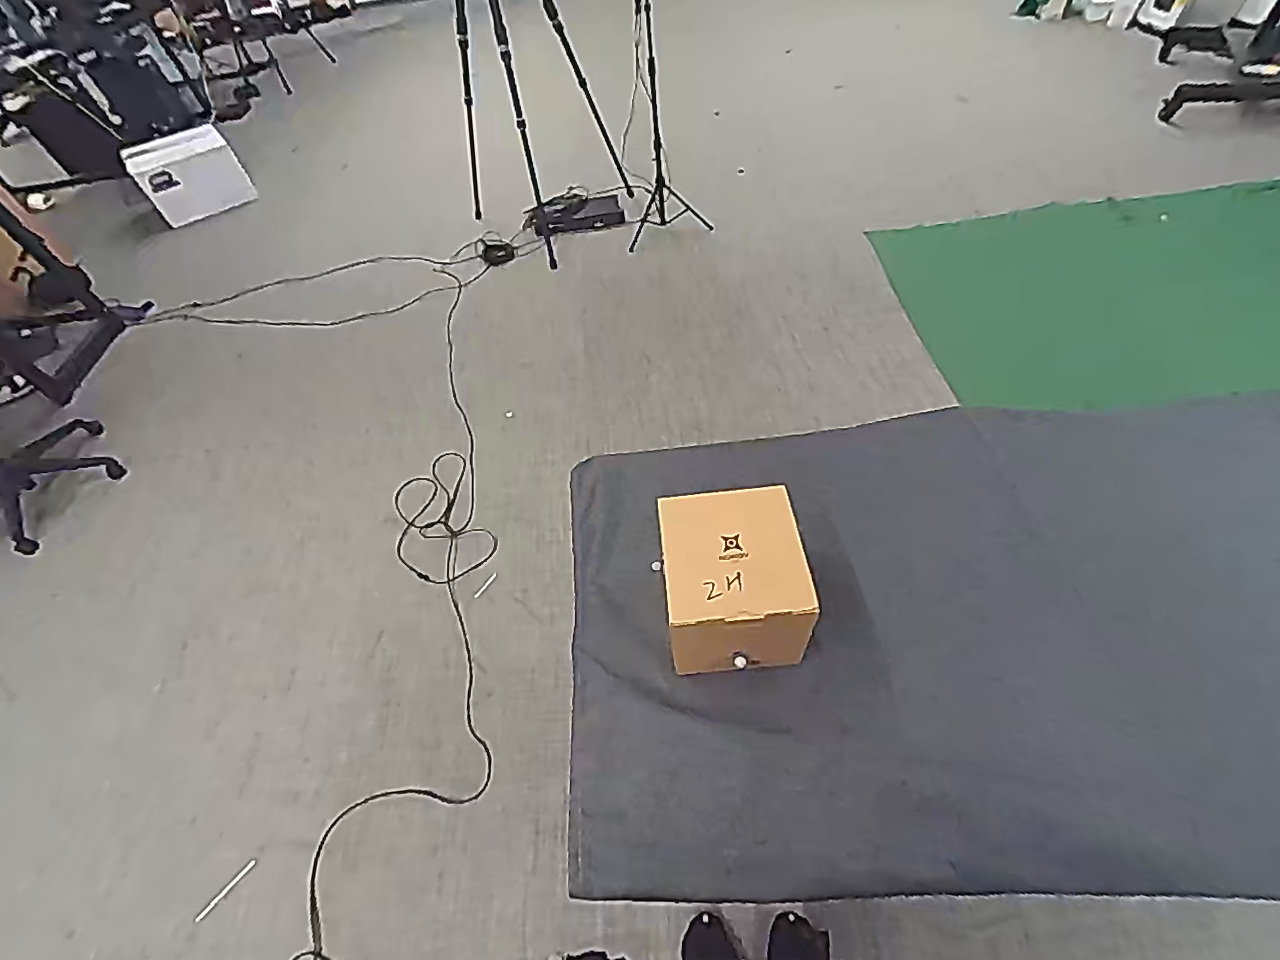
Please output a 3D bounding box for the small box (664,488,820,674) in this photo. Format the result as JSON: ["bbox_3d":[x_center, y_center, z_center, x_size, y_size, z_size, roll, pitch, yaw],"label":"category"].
[{"bbox_3d":[0.121,0.134,0.706,0.168,0.176,0.179,-6,51,3],"label":"small box"}]
